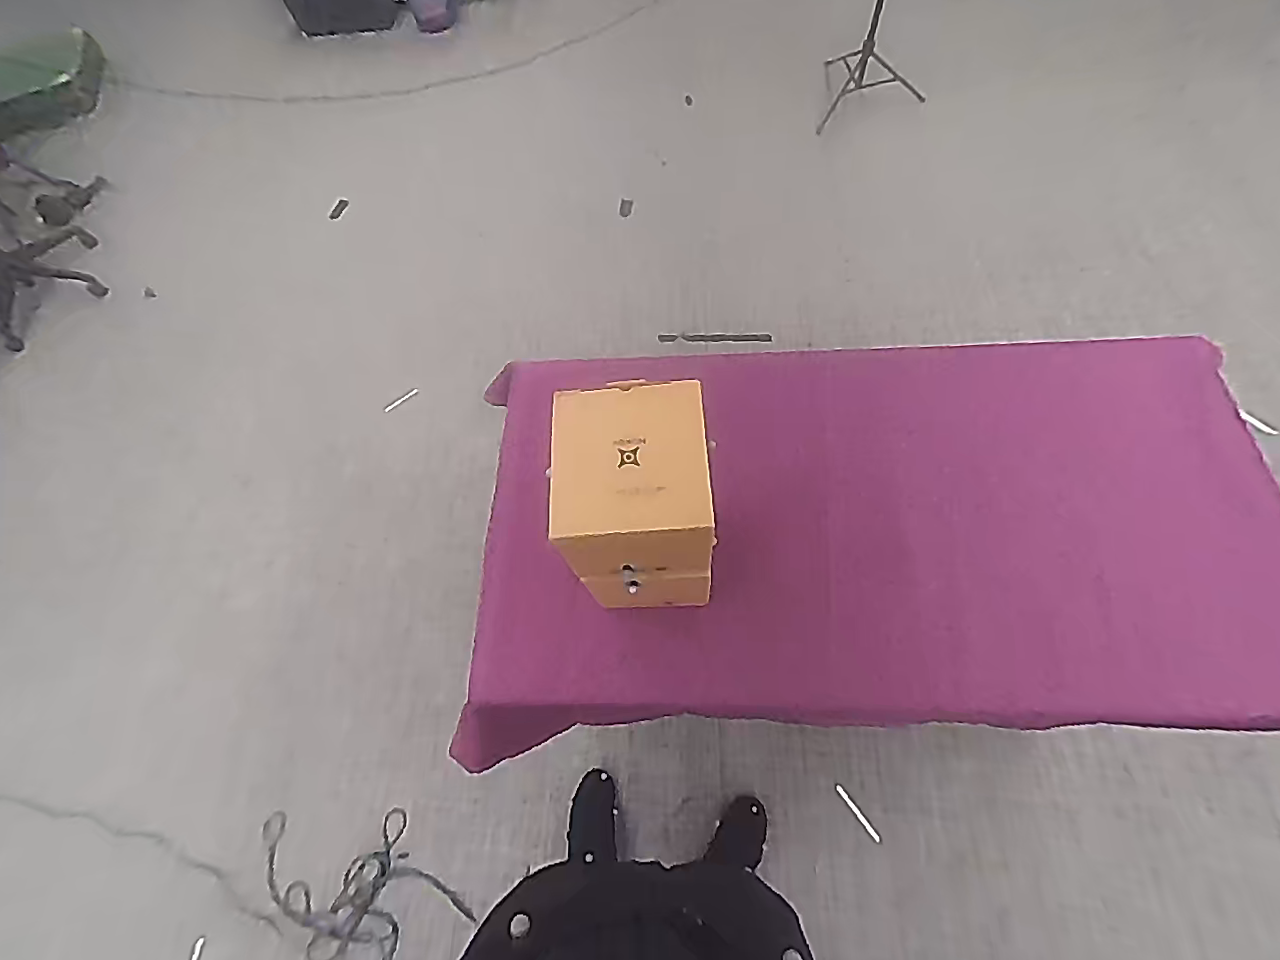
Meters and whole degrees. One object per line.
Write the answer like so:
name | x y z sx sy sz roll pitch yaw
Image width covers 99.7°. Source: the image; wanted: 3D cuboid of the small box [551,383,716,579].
small box | -0.003 0.008 0.637 0.168 0.176 0.179 -4 65 4

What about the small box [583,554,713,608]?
small box | 0.016 0.079 0.784 0.168 0.176 0.179 -2 65 5
